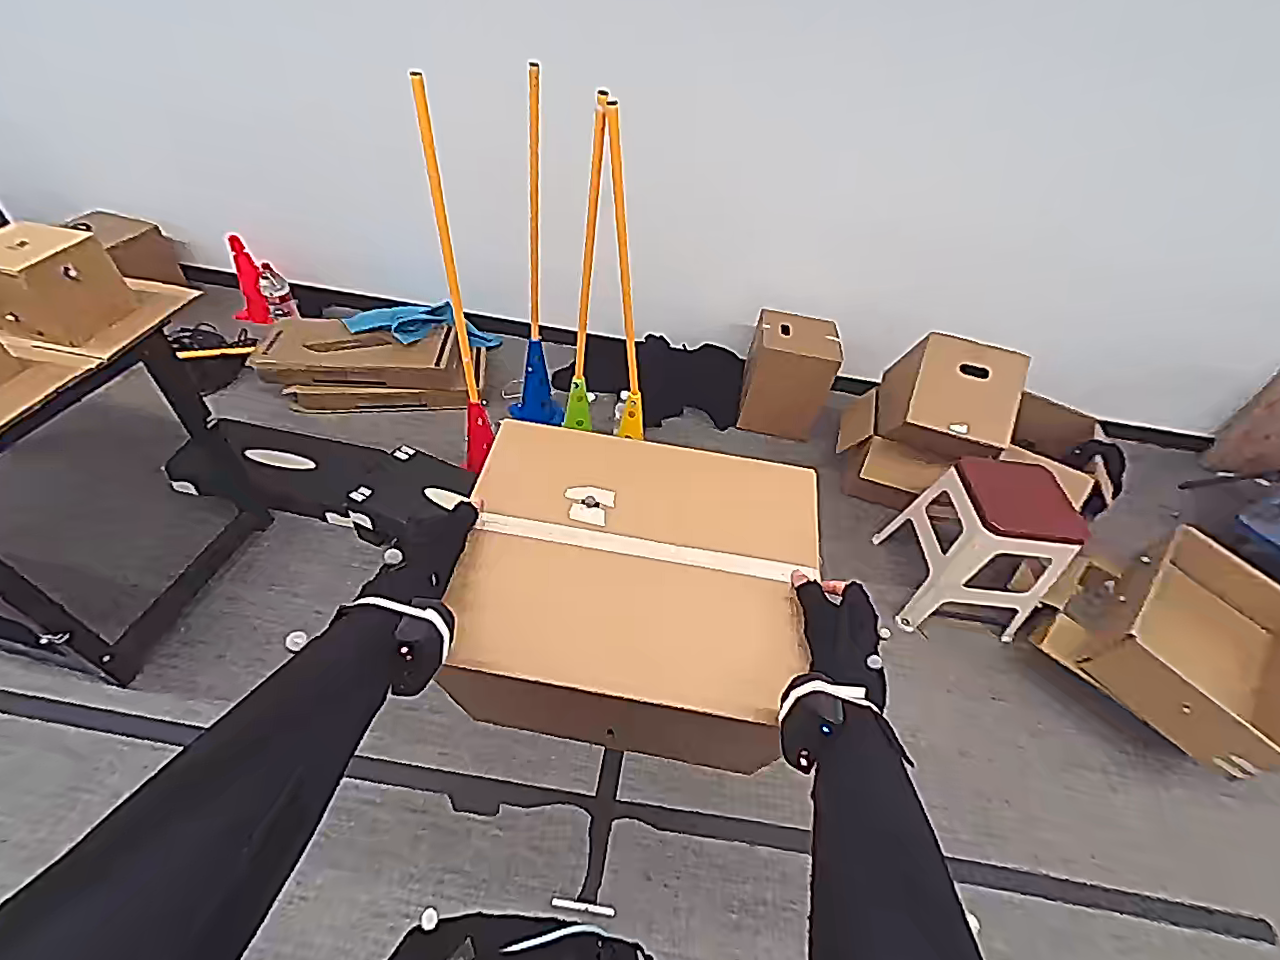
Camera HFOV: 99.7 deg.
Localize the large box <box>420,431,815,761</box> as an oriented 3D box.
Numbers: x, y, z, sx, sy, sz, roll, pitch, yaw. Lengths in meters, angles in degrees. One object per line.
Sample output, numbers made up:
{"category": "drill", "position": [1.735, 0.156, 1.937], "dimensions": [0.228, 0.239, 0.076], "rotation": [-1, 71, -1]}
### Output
{"category": "large box", "position": [-0.010, 0.170, 0.739], "dimensions": [0.408, 0.320, 0.320], "rotation": [9, 55, 3]}
